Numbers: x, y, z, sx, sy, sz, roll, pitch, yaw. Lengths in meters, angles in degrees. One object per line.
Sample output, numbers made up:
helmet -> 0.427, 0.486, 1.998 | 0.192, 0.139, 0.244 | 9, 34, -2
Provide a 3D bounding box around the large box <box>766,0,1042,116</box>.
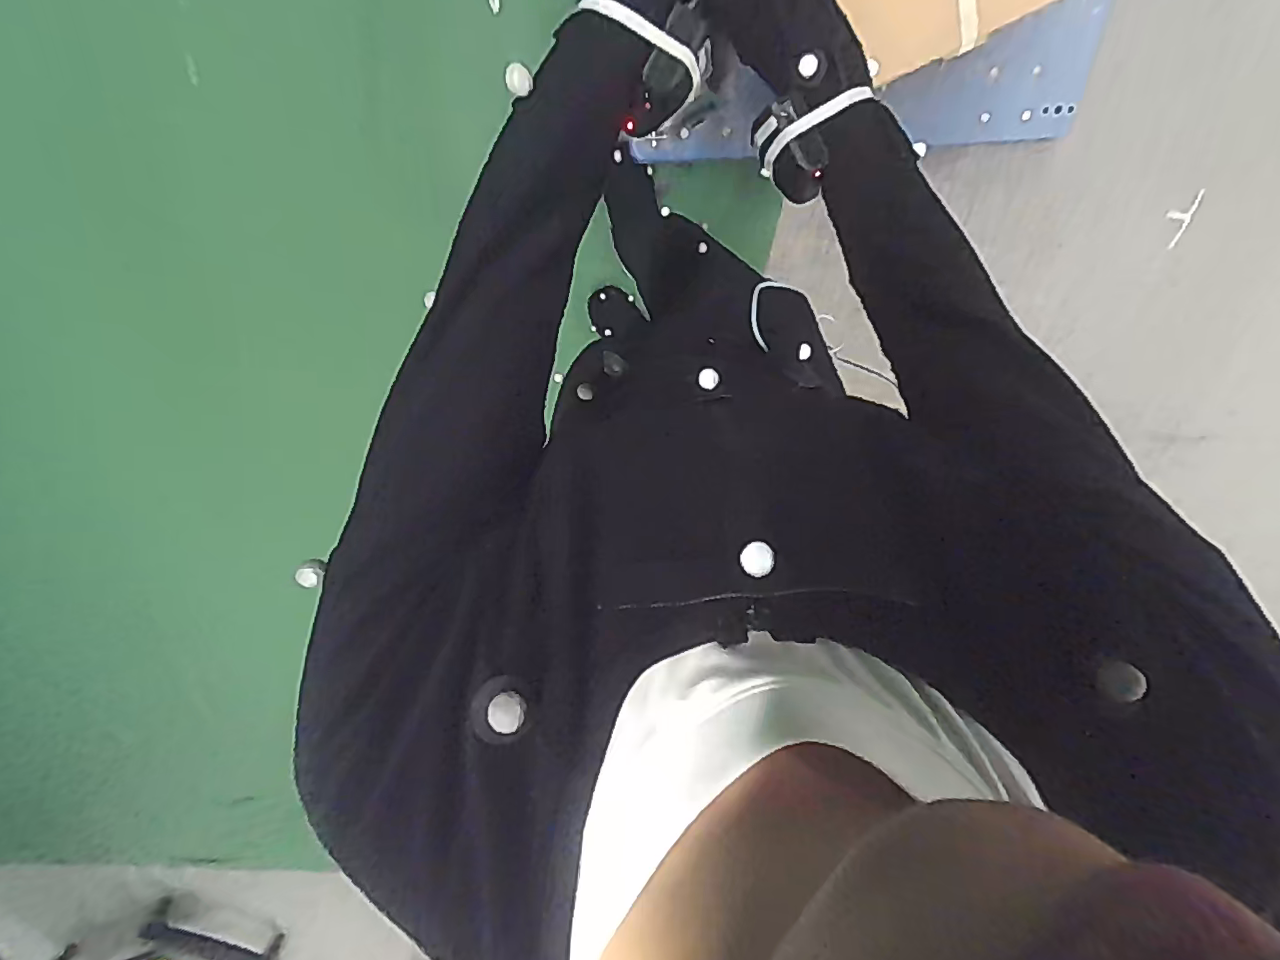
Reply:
large box -> 0.354, -0.826, 0.776 | 0.320, 0.320, 0.408 | -21, 117, 8
